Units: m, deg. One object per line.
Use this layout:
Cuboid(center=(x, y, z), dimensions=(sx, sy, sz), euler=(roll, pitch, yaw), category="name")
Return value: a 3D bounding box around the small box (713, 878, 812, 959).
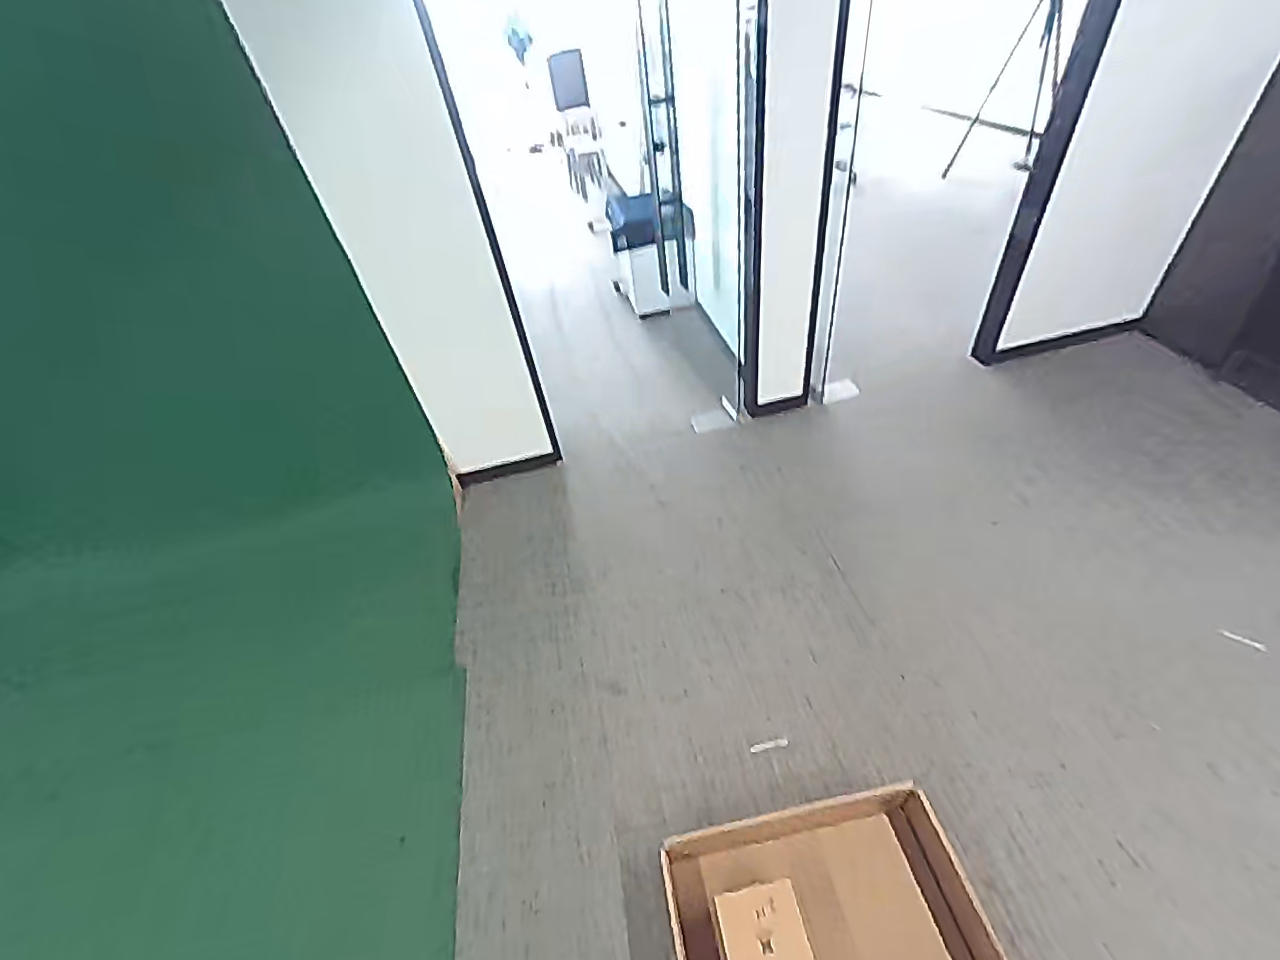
Cuboid(center=(0.254, 0.967, 1.126), dimensions=(0.168, 0.176, 0.179), euler=(-11, 43, -3), category="small box")
